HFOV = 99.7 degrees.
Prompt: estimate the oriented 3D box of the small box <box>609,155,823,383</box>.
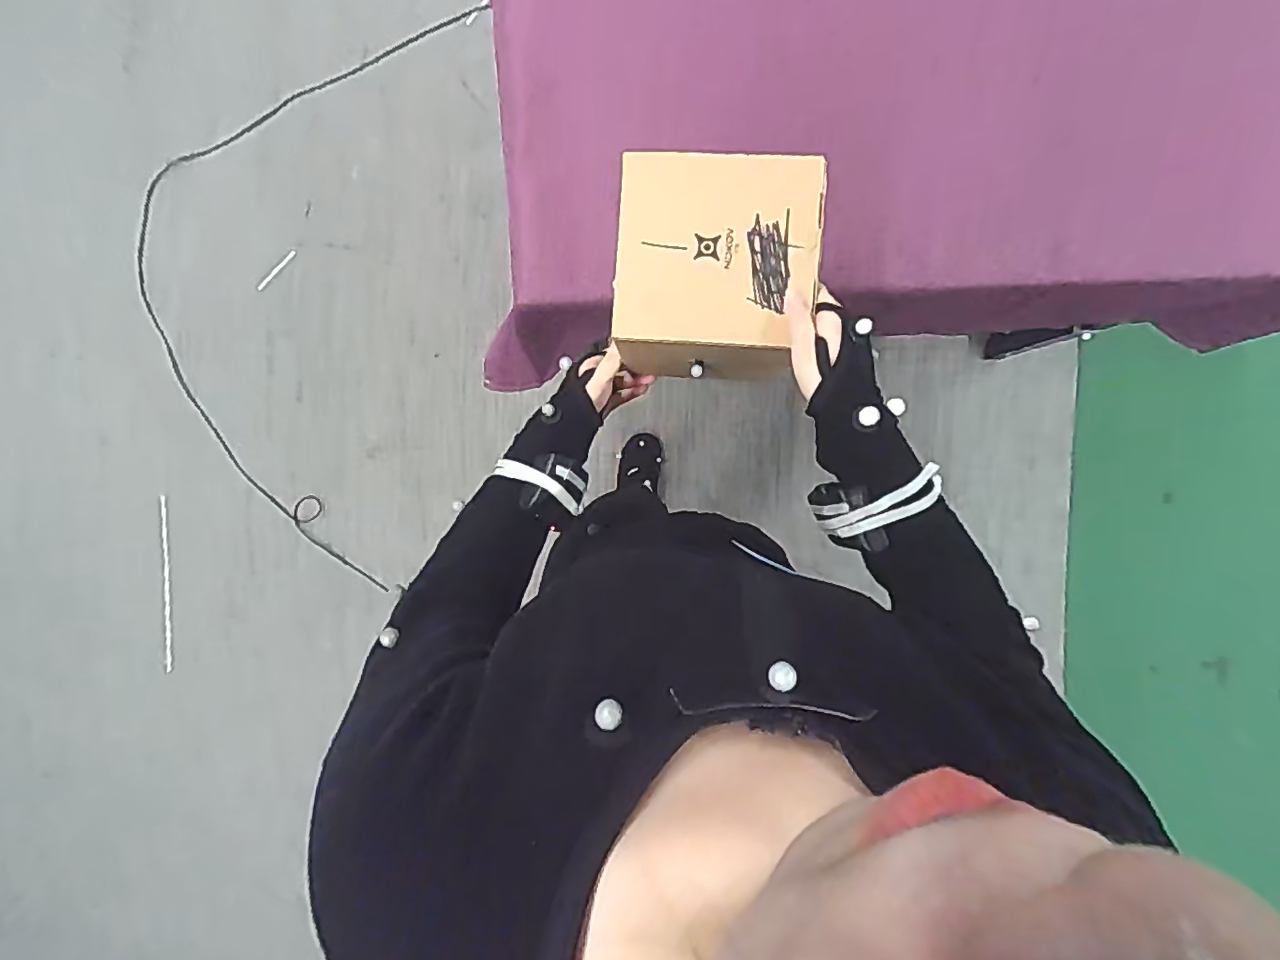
[{"bbox_3d":[0.071,-0.197,0.551,0.179,0.176,0.168,5,90,4],"label":"small box"}]
